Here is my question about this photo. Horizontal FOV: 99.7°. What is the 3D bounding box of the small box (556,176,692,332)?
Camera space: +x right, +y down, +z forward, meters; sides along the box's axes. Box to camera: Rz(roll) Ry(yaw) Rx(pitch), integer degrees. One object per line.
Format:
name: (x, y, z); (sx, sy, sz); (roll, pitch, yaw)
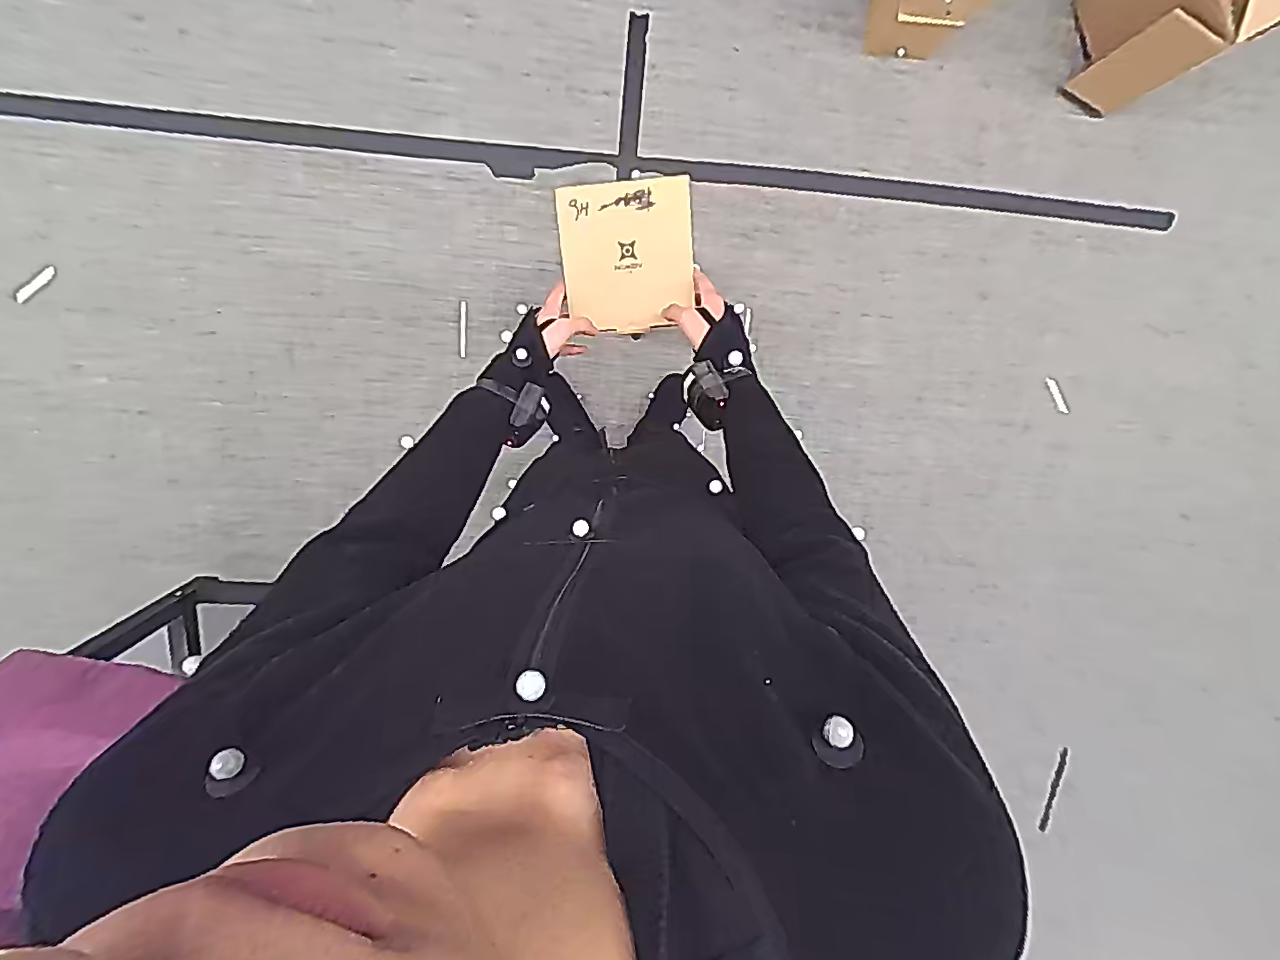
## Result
small box: (-0.013, -0.306, 0.755); (0.168, 0.176, 0.179); (-3, 108, 3)
